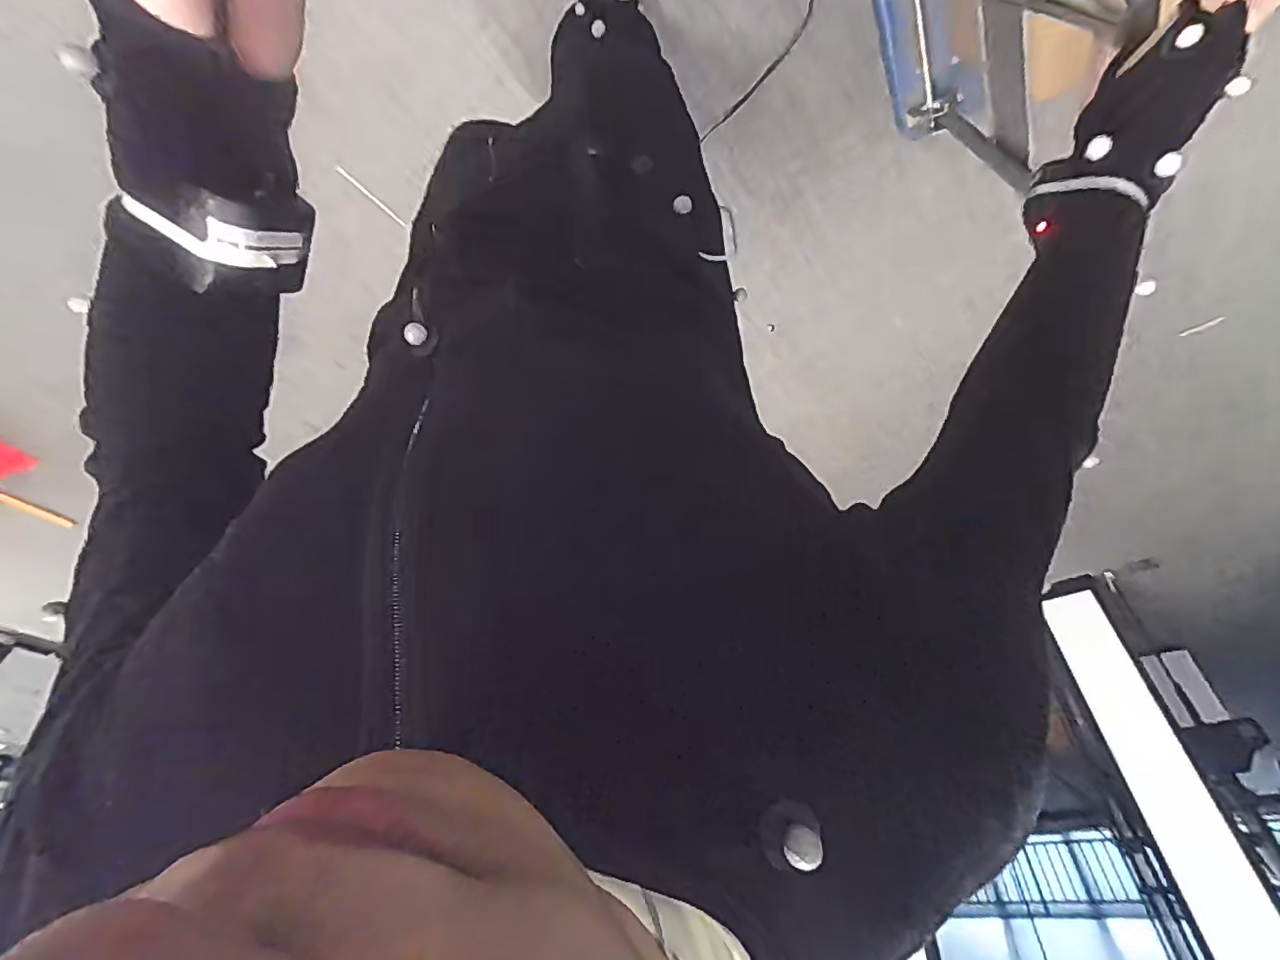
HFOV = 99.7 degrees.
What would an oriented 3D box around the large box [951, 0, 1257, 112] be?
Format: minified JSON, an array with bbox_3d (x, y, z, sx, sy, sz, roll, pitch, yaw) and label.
[{"bbox_3d":[0.673,-0.800,0.723,0.408,0.320,0.320,-19,135,23],"label":"large box"}]
